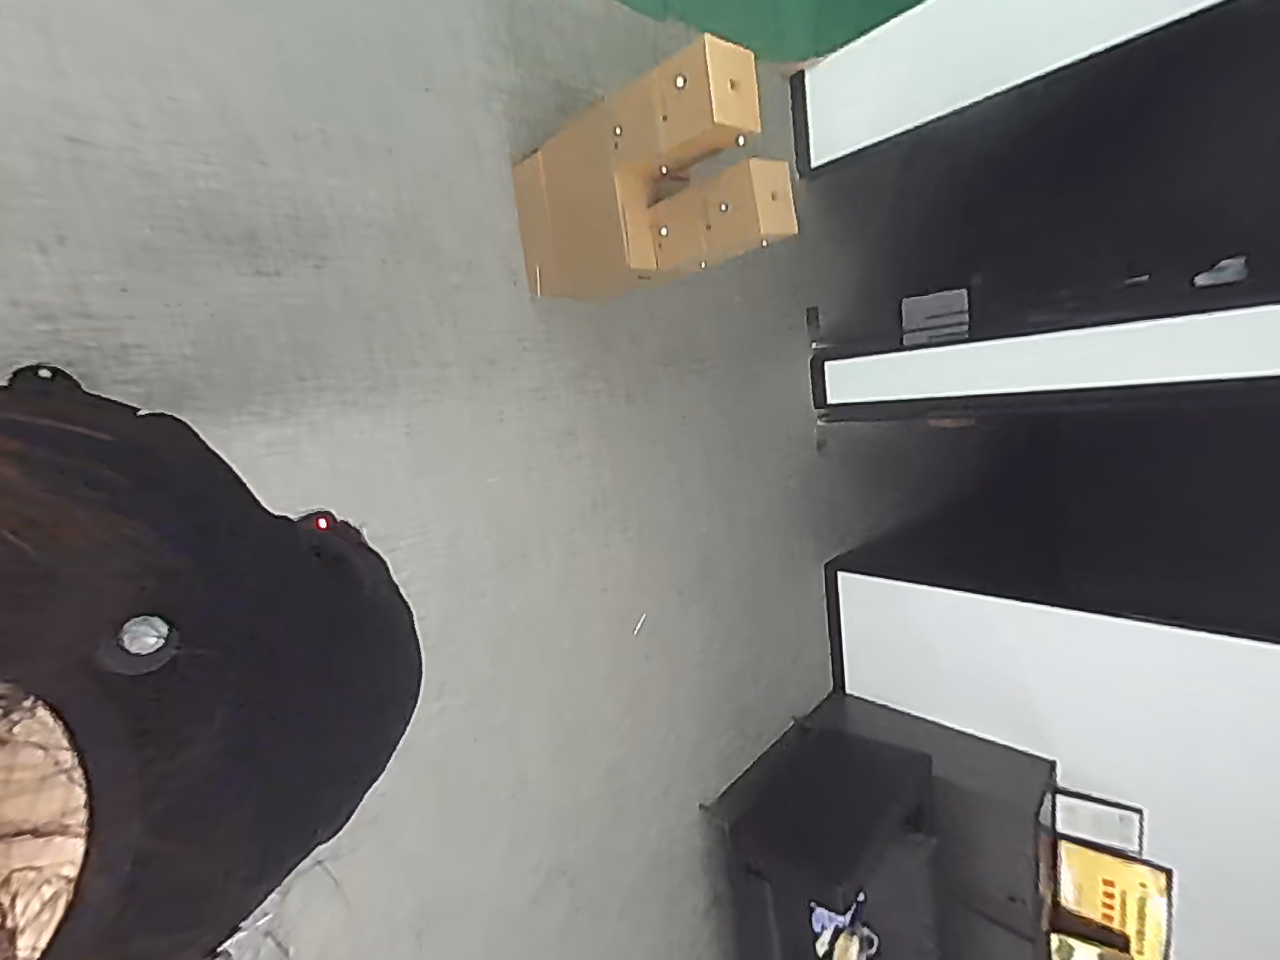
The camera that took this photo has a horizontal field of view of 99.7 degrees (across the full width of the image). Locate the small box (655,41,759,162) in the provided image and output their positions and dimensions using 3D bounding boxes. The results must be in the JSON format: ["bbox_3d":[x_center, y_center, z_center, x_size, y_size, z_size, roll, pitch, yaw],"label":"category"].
[{"bbox_3d":[0.148,-0.855,1.244,0.179,0.176,0.168,-20,108,-39],"label":"small box"}]

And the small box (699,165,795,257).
[{"bbox_3d":[0.263,-0.670,1.363,0.179,0.176,0.168,-24,108,-41],"label":"small box"}]
